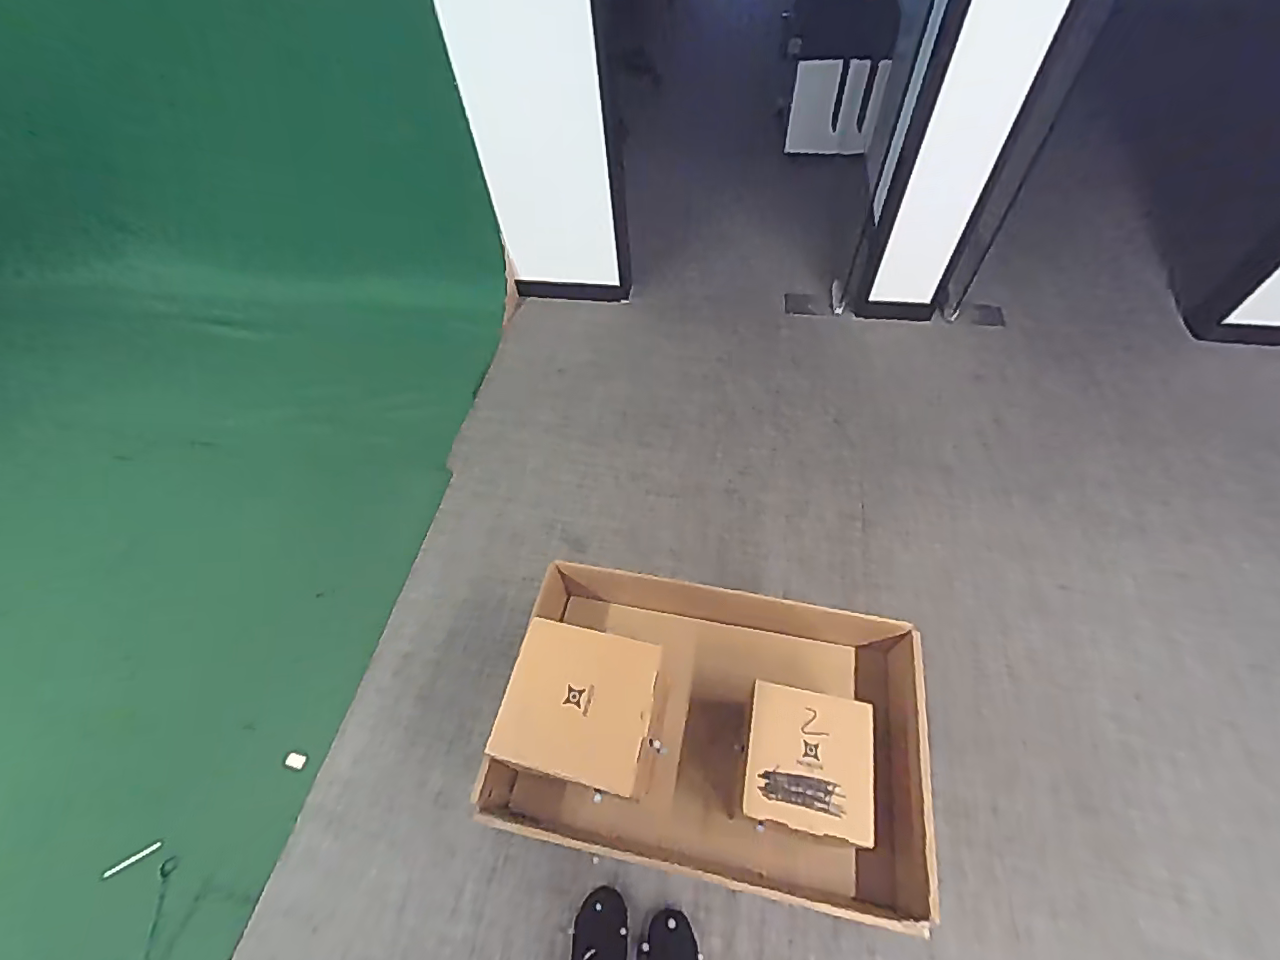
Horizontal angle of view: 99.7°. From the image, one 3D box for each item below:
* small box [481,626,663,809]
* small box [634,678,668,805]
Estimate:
[{"bbox_3d":[-0.072,0.311,0.698,0.179,0.176,0.168,11,57,10],"label":"small box"},{"bbox_3d":[-0.059,0.391,0.840,0.179,0.176,0.168,10,57,10],"label":"small box"}]
